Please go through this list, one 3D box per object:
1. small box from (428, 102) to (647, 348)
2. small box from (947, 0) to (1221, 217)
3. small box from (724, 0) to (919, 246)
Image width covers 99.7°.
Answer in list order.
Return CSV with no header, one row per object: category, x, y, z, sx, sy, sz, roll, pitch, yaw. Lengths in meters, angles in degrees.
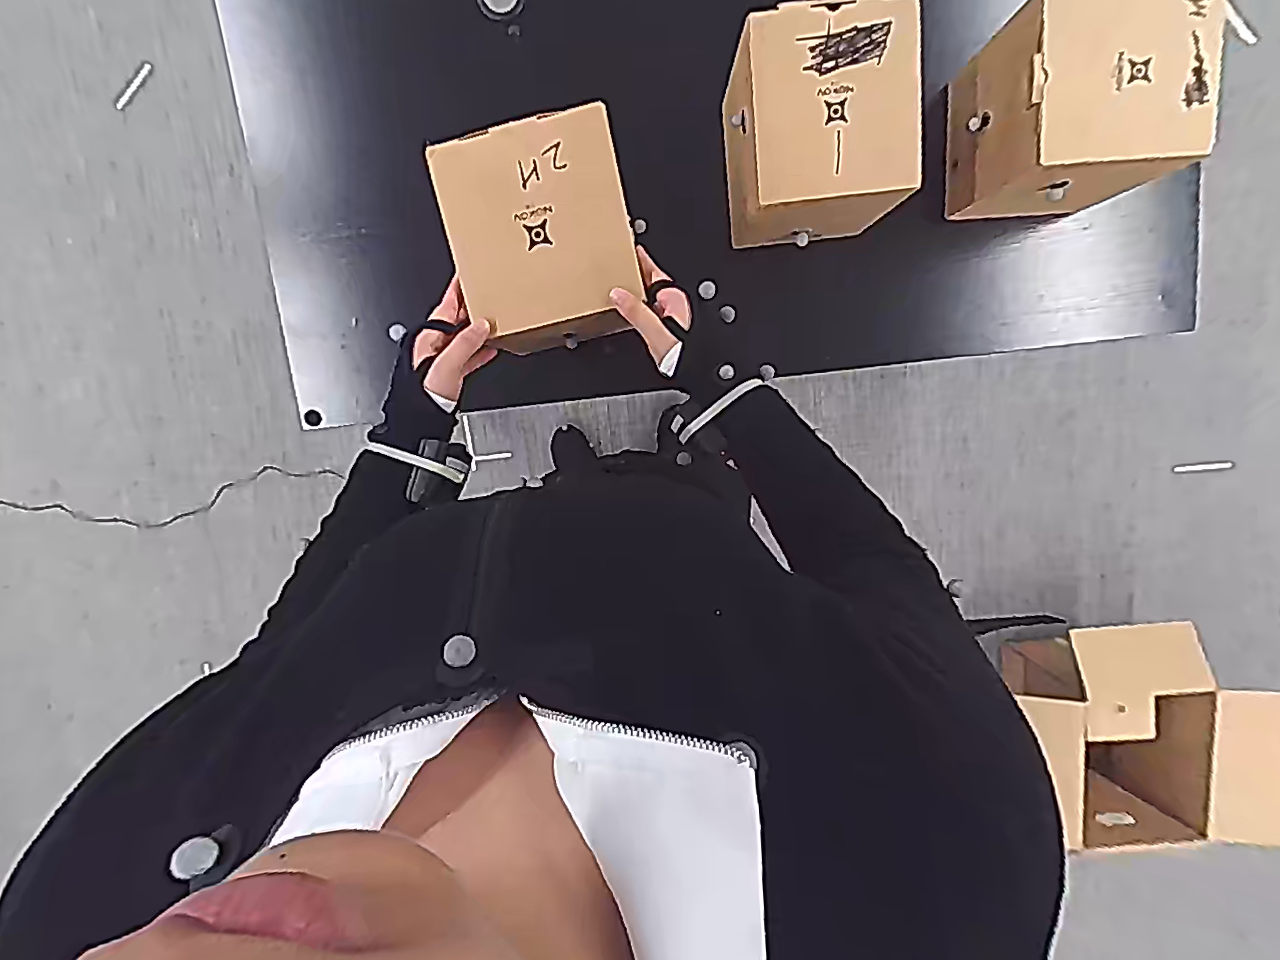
small box,-0.089,-0.242,0.565,0.168,0.176,0.179,-12,98,4
small box,0.472,-0.409,0.605,0.179,0.176,0.168,-3,99,2
small box,0.192,-0.384,0.611,0.168,0.176,0.179,-6,99,2
